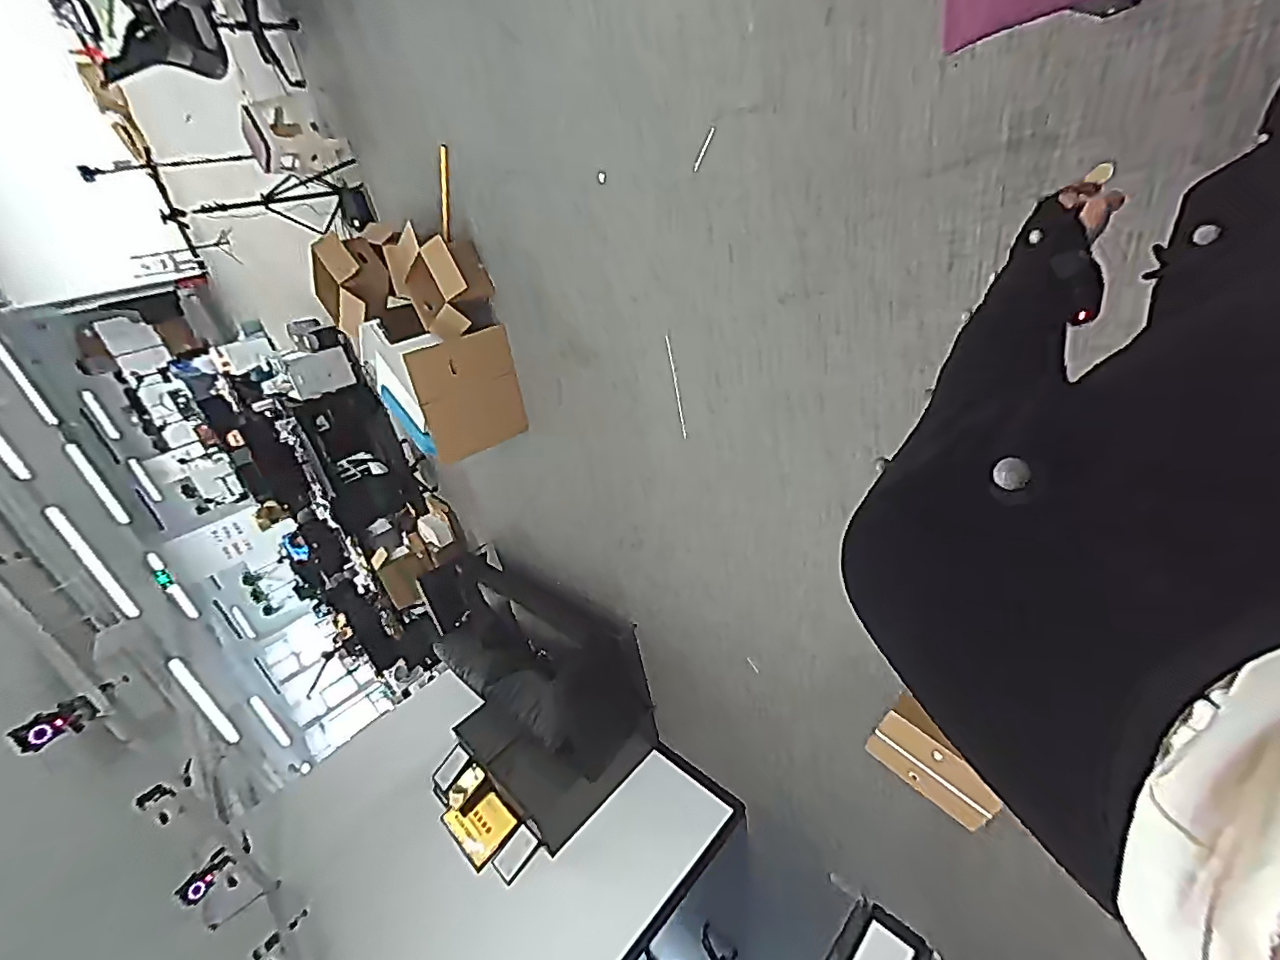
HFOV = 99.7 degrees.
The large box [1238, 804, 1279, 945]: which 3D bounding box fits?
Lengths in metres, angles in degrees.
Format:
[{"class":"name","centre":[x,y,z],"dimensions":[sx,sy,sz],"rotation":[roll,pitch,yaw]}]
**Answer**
[{"class":"large box","centre":[1.724,1.006,1.232],"dimensions":[0.320,0.320,0.408],"rotation":[57,144,0]}]
